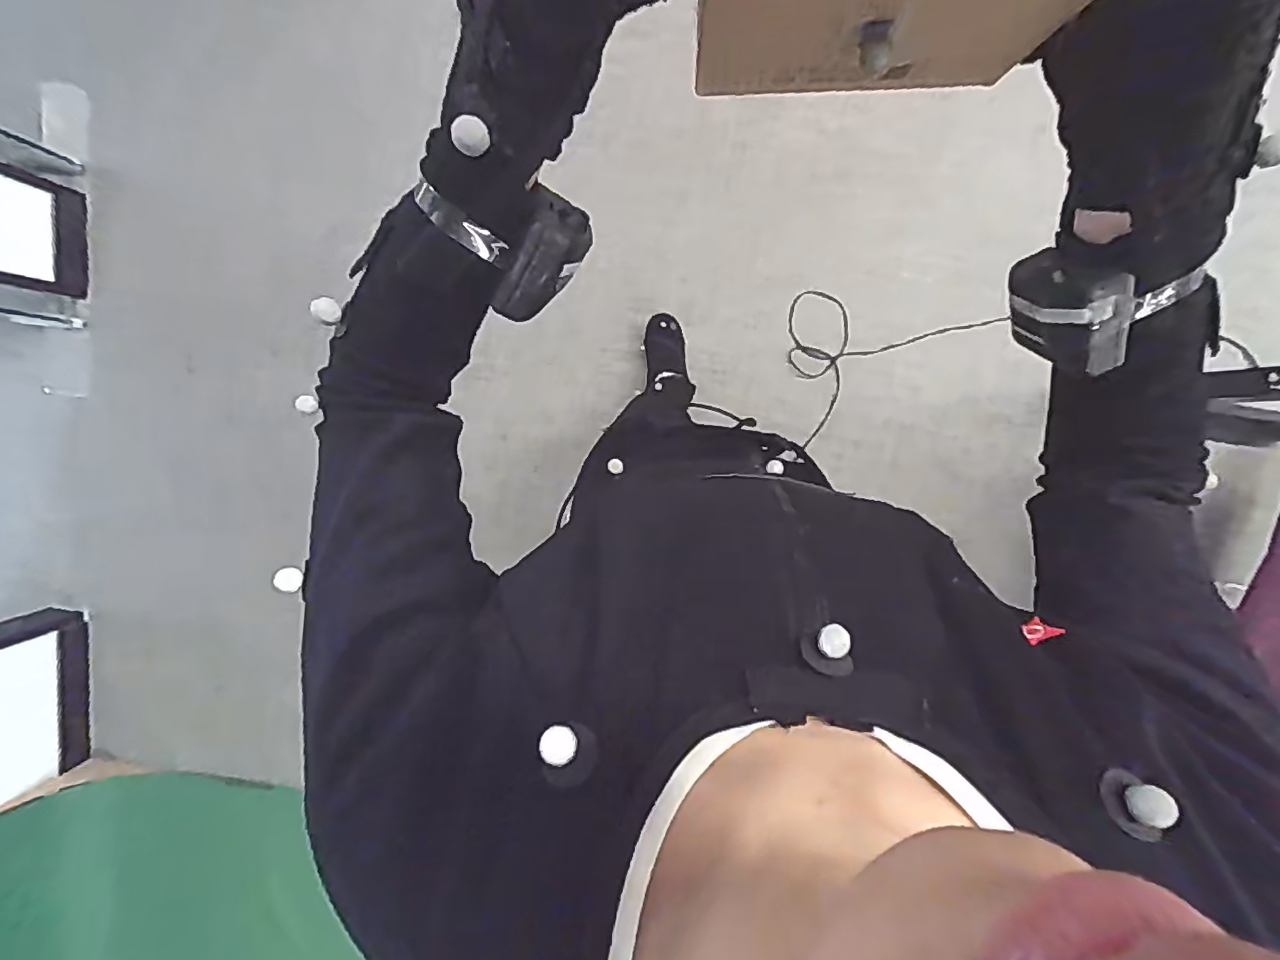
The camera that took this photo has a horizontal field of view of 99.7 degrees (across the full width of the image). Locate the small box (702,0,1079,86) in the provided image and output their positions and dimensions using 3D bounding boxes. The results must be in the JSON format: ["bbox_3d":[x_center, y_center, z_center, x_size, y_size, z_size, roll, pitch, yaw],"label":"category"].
[{"bbox_3d":[0.110,-0.287,0.201,0.168,0.176,0.179,0,103,3],"label":"small box"}]
